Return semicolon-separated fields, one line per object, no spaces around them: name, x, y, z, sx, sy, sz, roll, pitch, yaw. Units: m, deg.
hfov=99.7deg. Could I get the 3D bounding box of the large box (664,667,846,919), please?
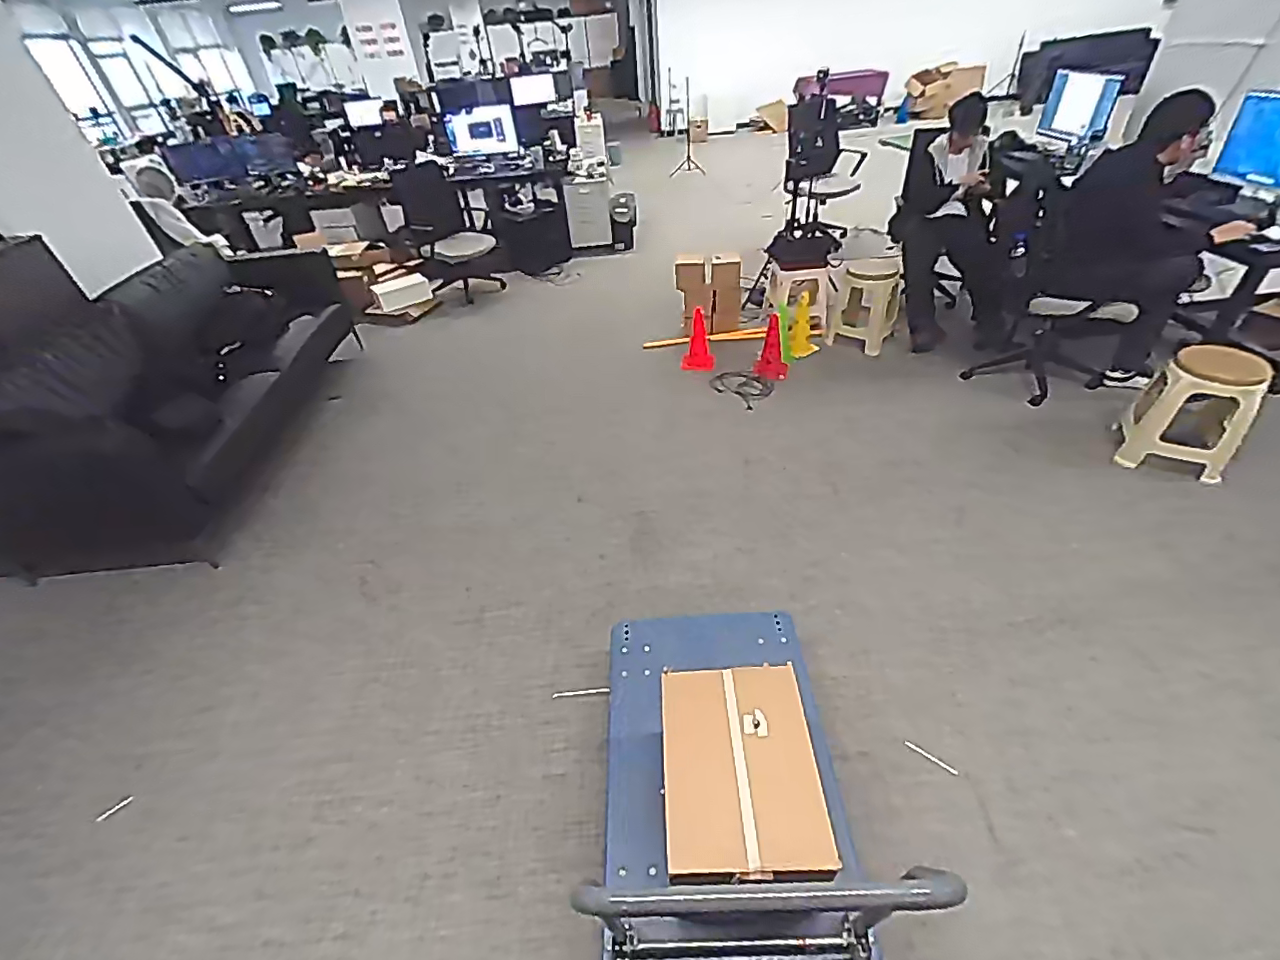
large box;0.226;0.688;1.207;0.320;0.320;0.408;-4;39;3
